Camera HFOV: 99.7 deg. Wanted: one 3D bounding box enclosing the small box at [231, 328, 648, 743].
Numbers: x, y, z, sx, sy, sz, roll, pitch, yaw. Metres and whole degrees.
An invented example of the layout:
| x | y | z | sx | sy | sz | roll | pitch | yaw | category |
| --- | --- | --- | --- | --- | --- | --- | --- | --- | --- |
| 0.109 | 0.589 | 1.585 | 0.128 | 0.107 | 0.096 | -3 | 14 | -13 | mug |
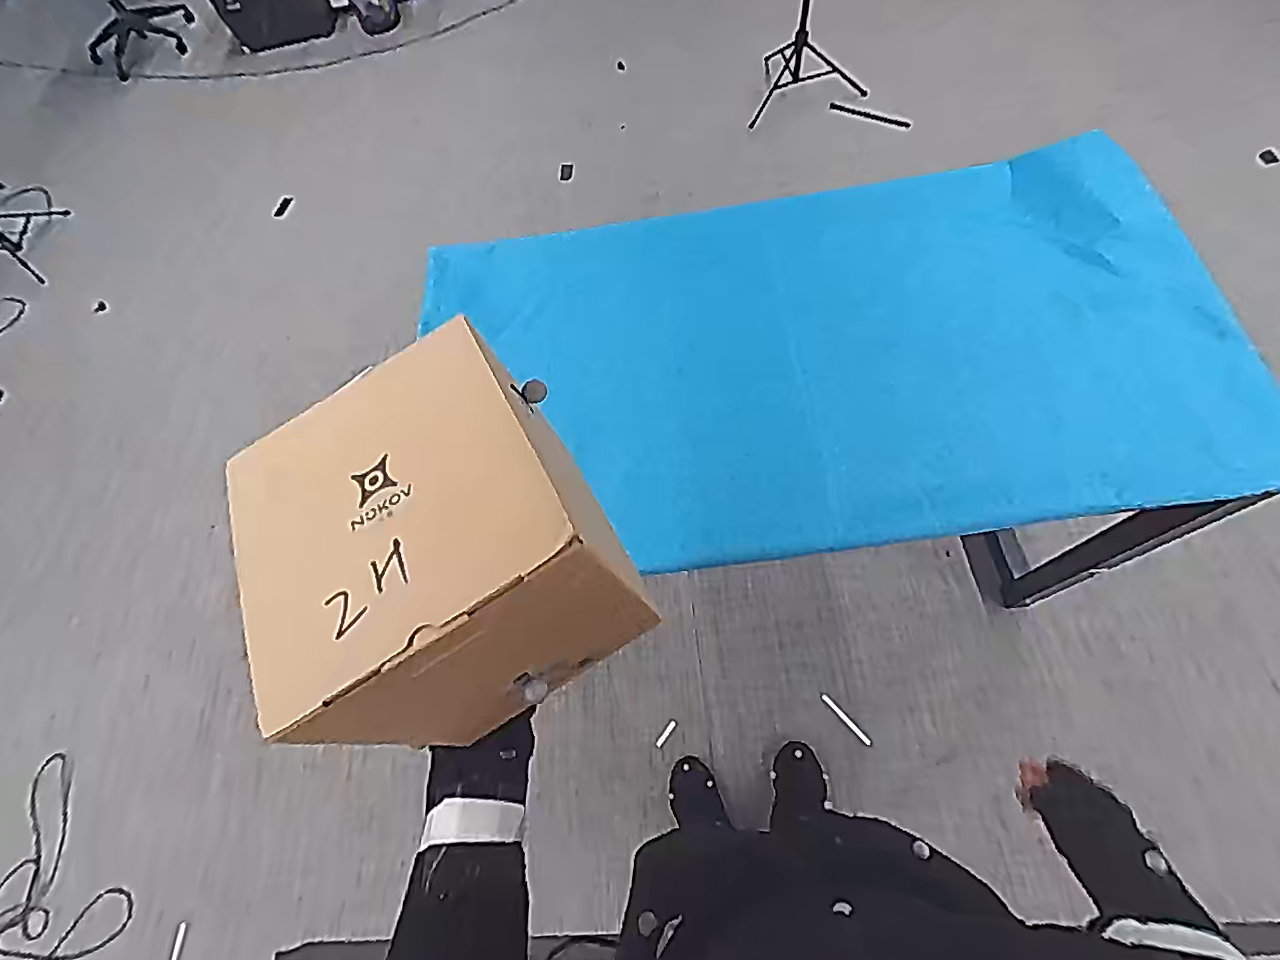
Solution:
| x | y | z | sx | sy | sz | roll | pitch | yaw | category |
| --- | --- | --- | --- | --- | --- | --- | --- | --- | --- |
| -0.115 | 0.046 | 0.349 | 0.168 | 0.176 | 0.179 | -30 | 63 | 3 | small box |
